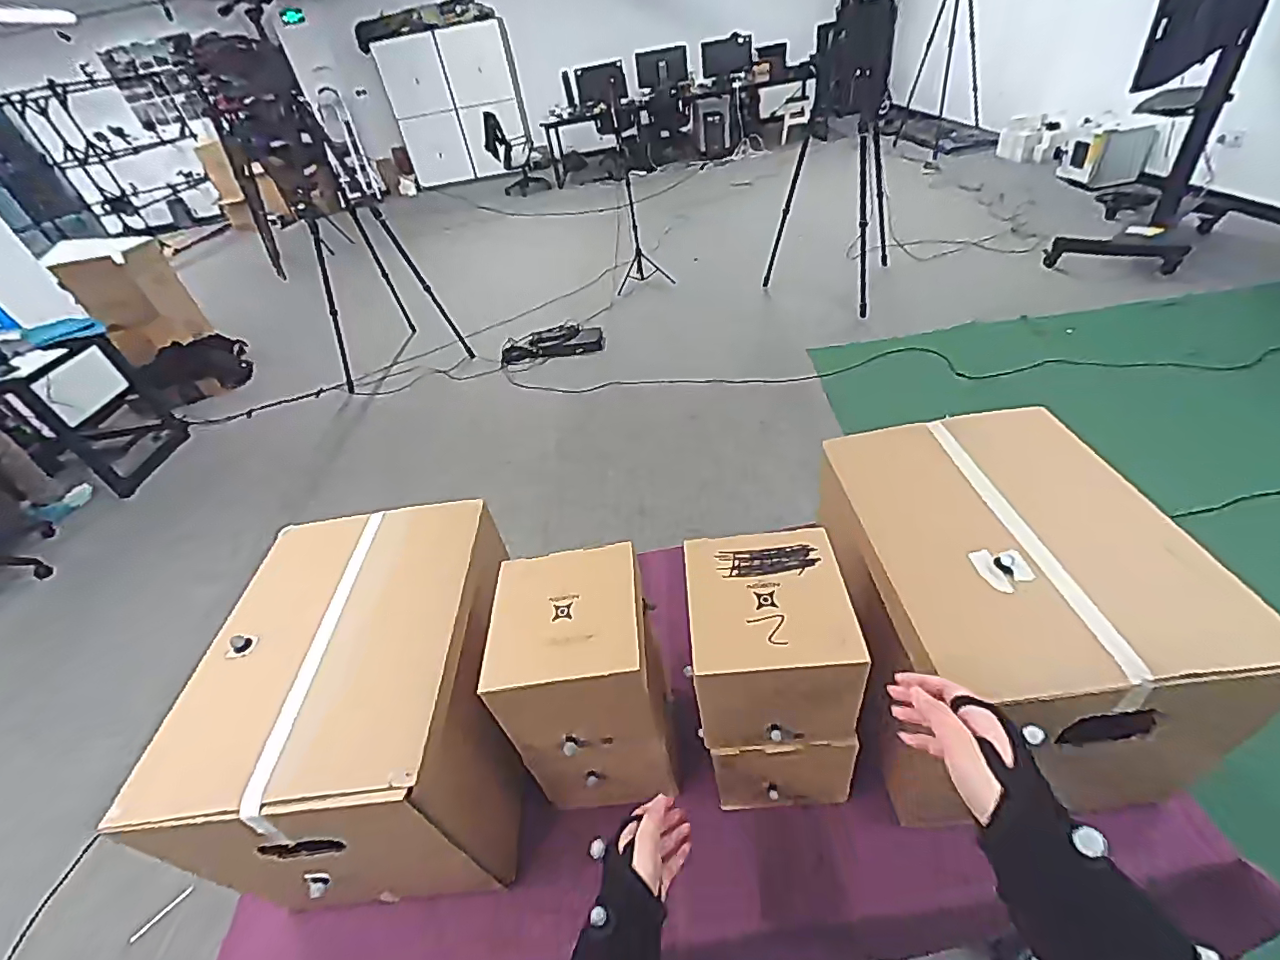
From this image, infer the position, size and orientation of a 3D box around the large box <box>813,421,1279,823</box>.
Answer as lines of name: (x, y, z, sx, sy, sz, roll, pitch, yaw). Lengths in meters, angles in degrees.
large box: (0.450, 0.173, 0.722, 0.320, 0.320, 0.408, -8, 40, 4)
